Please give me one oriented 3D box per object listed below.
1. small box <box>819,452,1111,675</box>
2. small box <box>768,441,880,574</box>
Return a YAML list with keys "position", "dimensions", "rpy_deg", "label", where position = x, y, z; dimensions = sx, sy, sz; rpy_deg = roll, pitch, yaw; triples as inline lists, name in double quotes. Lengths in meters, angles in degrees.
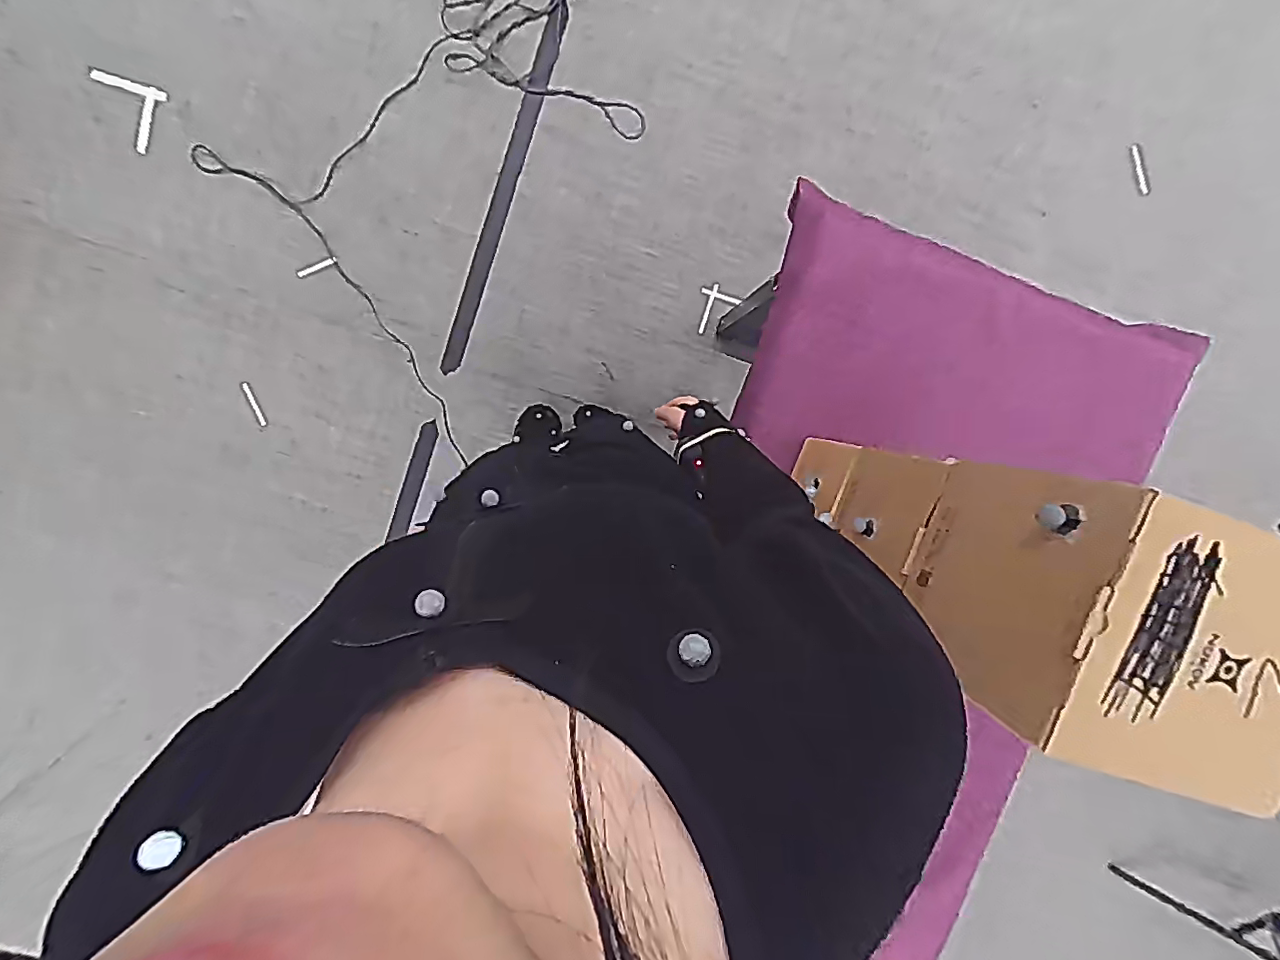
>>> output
- position: [0.317, 0.072, 0.570]
  dimensions: [0.179, 0.176, 0.168]
  rpy_deg: [17, 96, -7]
  label: "small box"
- position: [0.297, 0.050, 0.731]
  dimensions: [0.179, 0.176, 0.168]
  rpy_deg: [19, 96, -7]
  label: "small box"
